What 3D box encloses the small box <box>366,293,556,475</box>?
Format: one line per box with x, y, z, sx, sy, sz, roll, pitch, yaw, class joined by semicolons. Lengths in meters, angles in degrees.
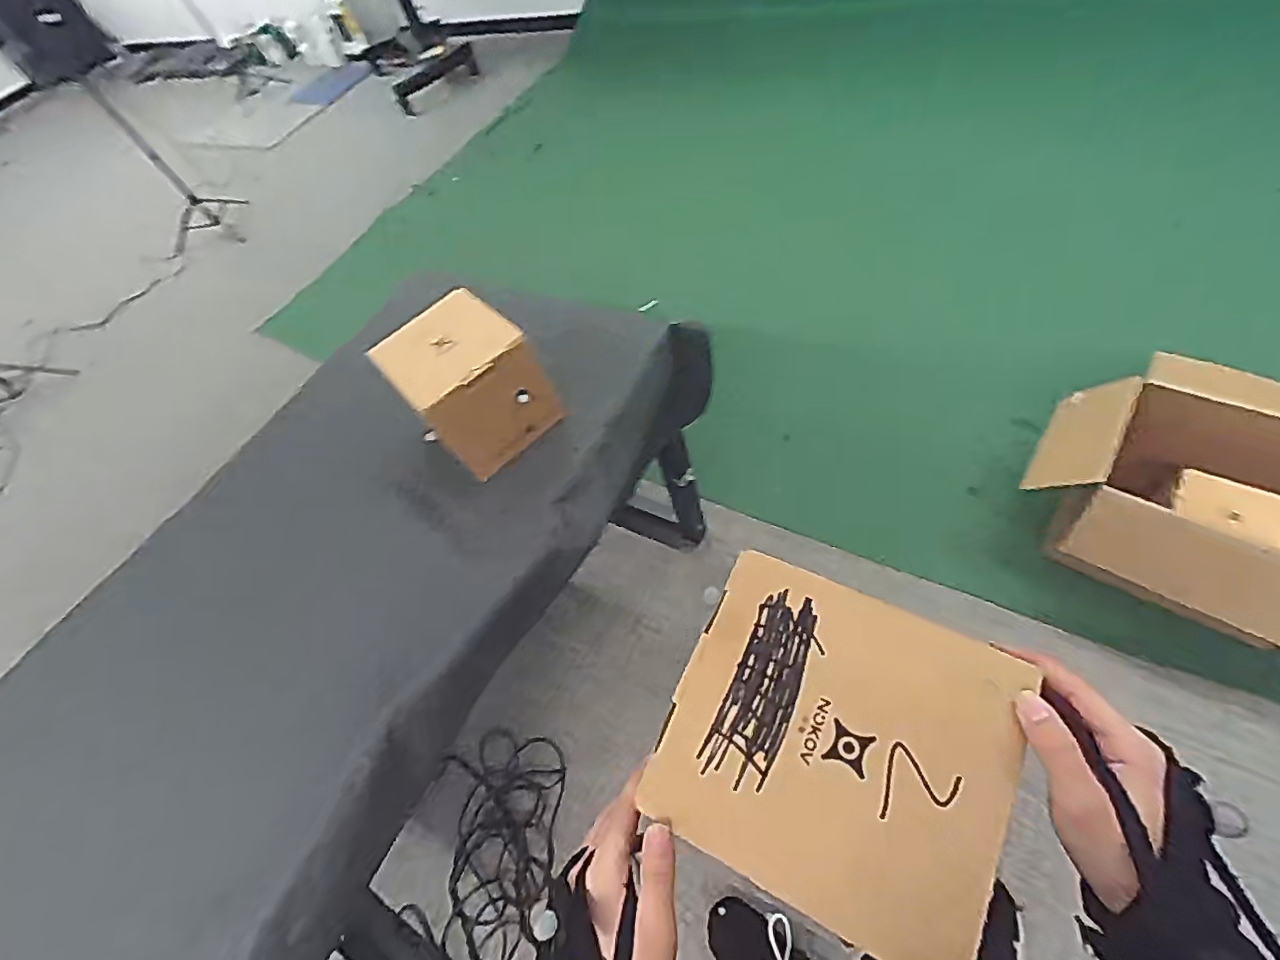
-0.251;-0.133;0.791;0.168;0.176;0.179;-42;56;-15;small box
